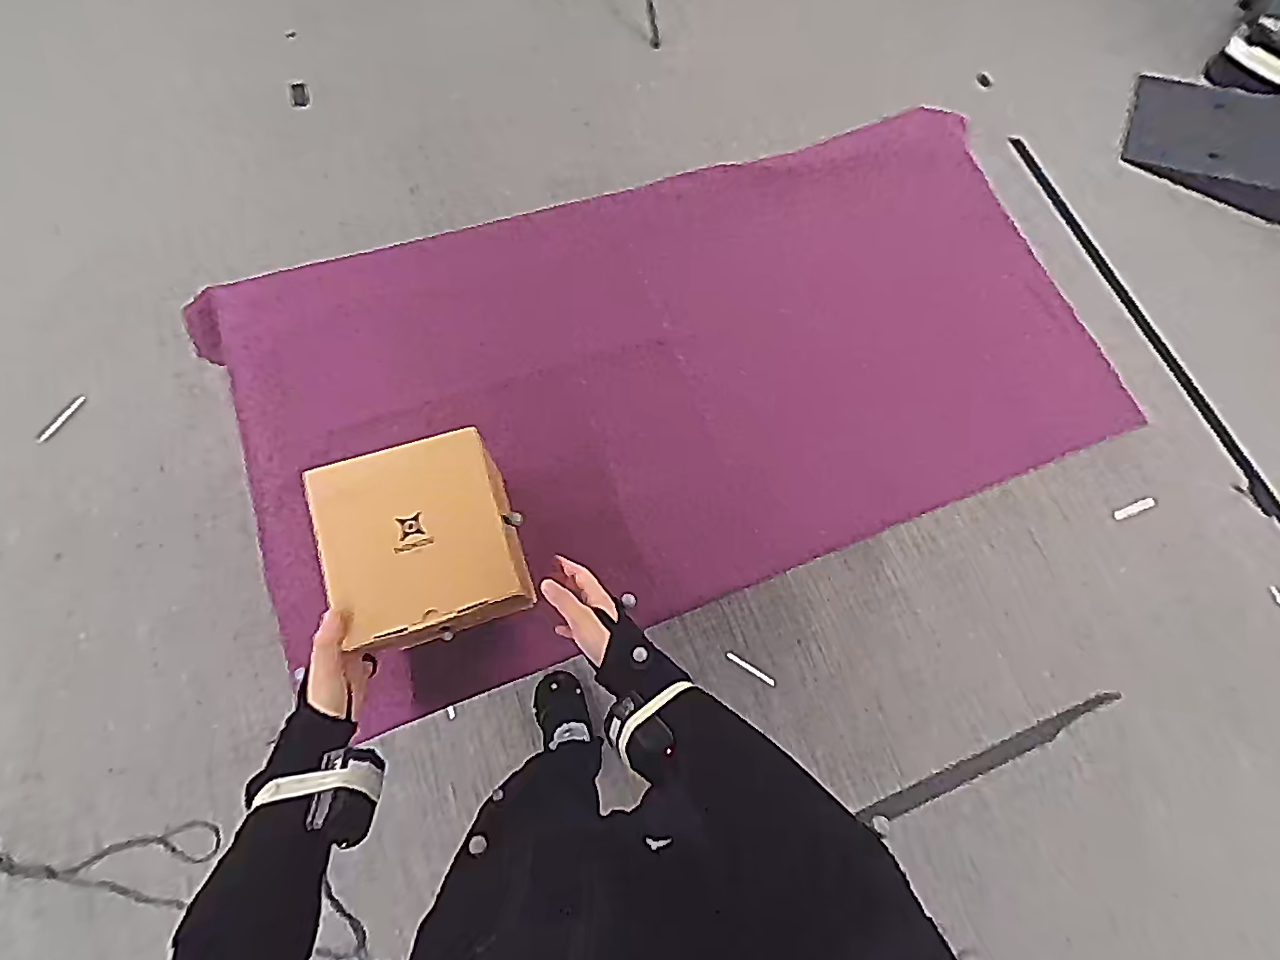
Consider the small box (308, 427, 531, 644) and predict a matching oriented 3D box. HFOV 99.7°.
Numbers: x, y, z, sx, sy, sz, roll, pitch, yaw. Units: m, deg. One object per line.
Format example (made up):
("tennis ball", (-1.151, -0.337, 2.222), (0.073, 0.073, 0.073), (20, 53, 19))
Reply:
("small box", (-0.225, 0.069, 0.589), (0.168, 0.176, 0.179), (-17, 77, -11))
